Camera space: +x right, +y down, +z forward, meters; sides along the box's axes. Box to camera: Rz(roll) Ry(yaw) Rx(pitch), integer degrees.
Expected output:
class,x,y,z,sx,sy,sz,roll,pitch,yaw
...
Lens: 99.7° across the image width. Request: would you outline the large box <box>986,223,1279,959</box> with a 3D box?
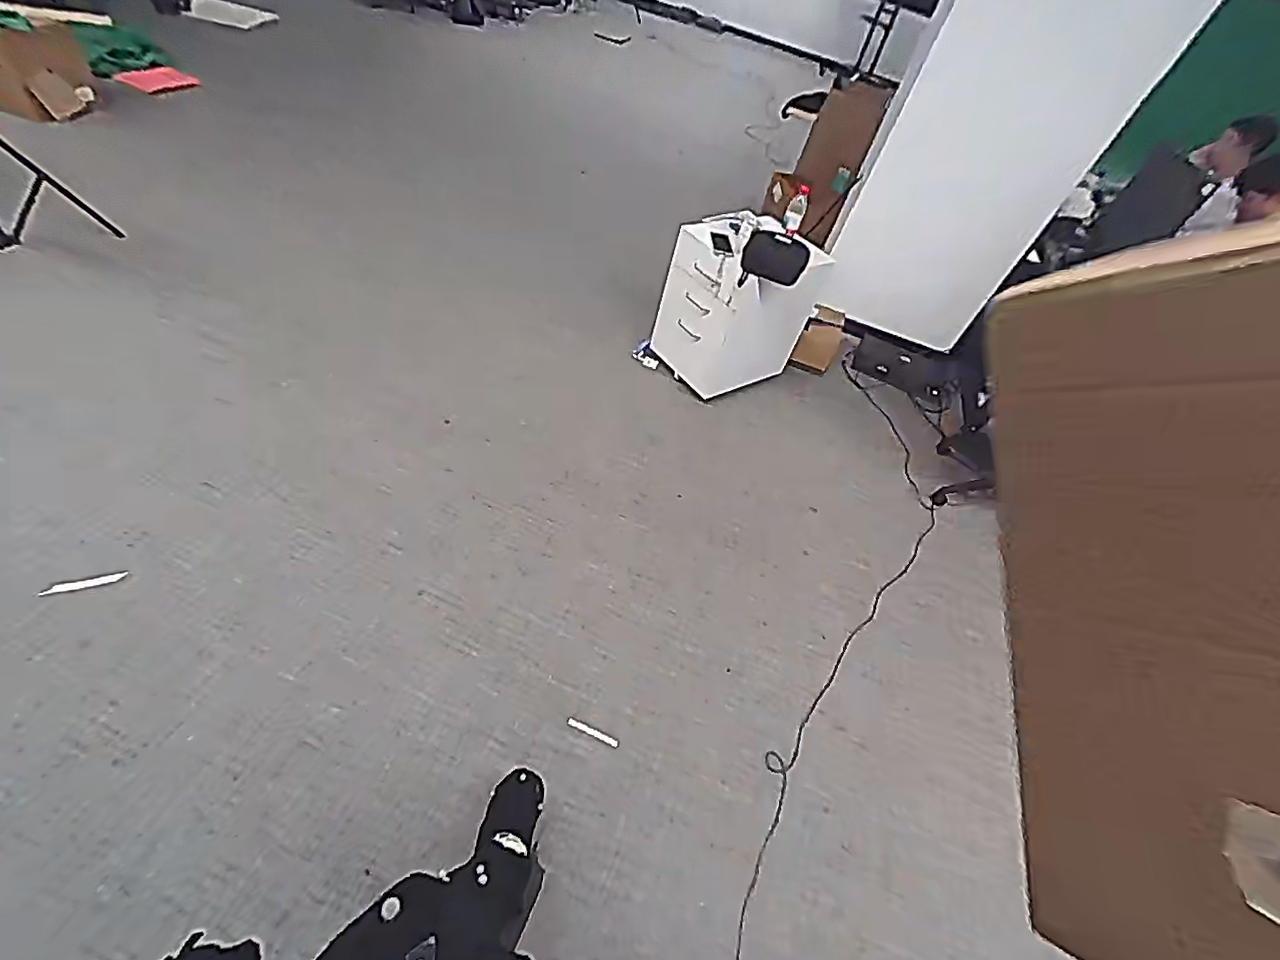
class,x,y,z,sx,sy,sz,roll,pitch,yaw
large box,0.421,0.065,0.268,0.320,0.408,0.320,-24,18,-31
